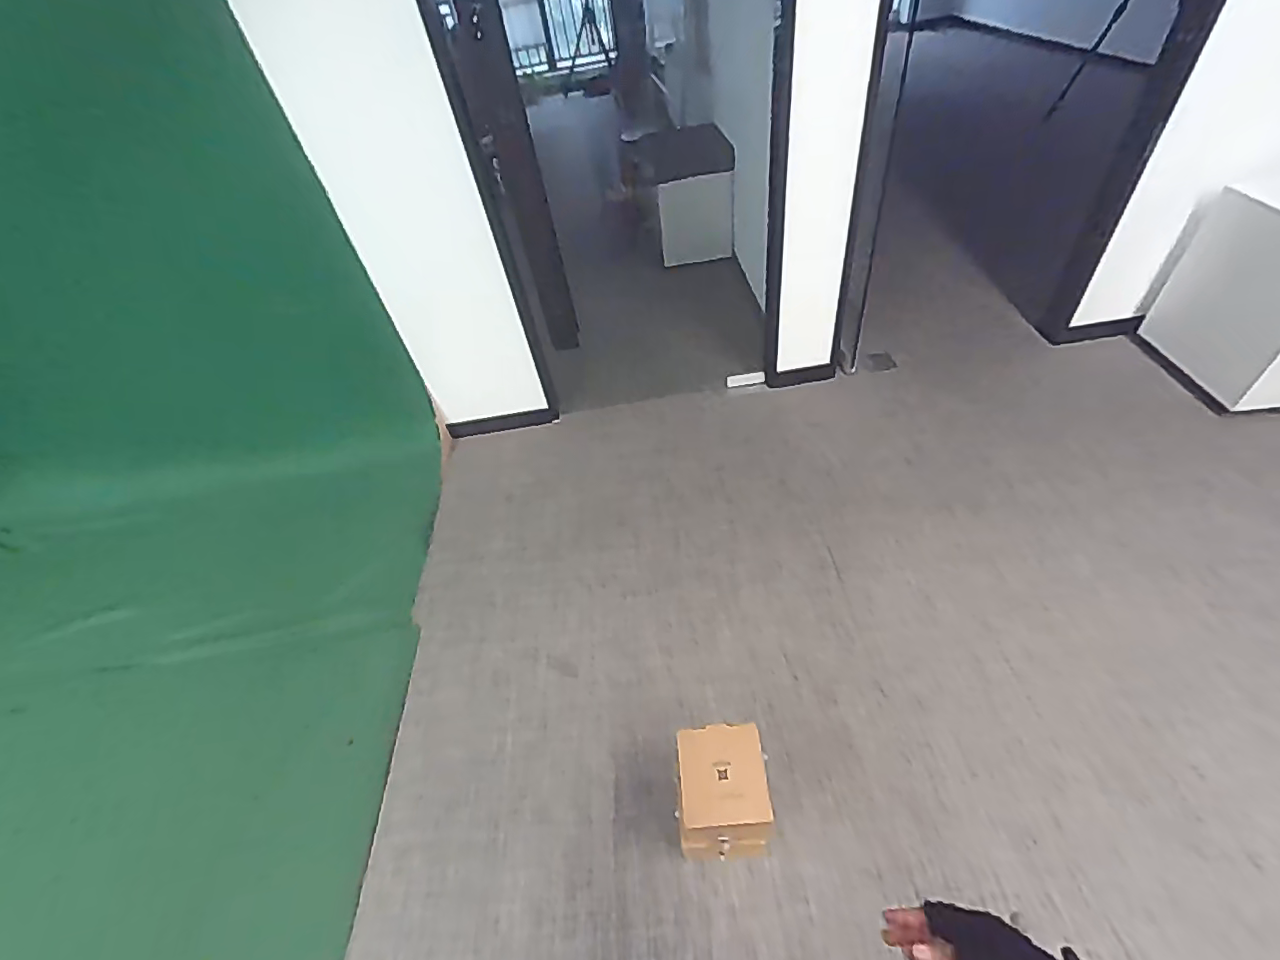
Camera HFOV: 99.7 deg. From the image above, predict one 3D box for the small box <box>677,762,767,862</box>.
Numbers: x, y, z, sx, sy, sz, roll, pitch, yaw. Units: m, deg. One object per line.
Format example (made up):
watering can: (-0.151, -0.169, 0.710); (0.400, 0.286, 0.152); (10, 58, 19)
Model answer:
small box: (0.181, 0.741, 1.212); (0.179, 0.176, 0.168); (-7, 45, 5)

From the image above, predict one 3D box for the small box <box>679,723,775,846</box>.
small box: (0.173, 0.622, 1.103); (0.168, 0.176, 0.179); (-8, 46, 5)
